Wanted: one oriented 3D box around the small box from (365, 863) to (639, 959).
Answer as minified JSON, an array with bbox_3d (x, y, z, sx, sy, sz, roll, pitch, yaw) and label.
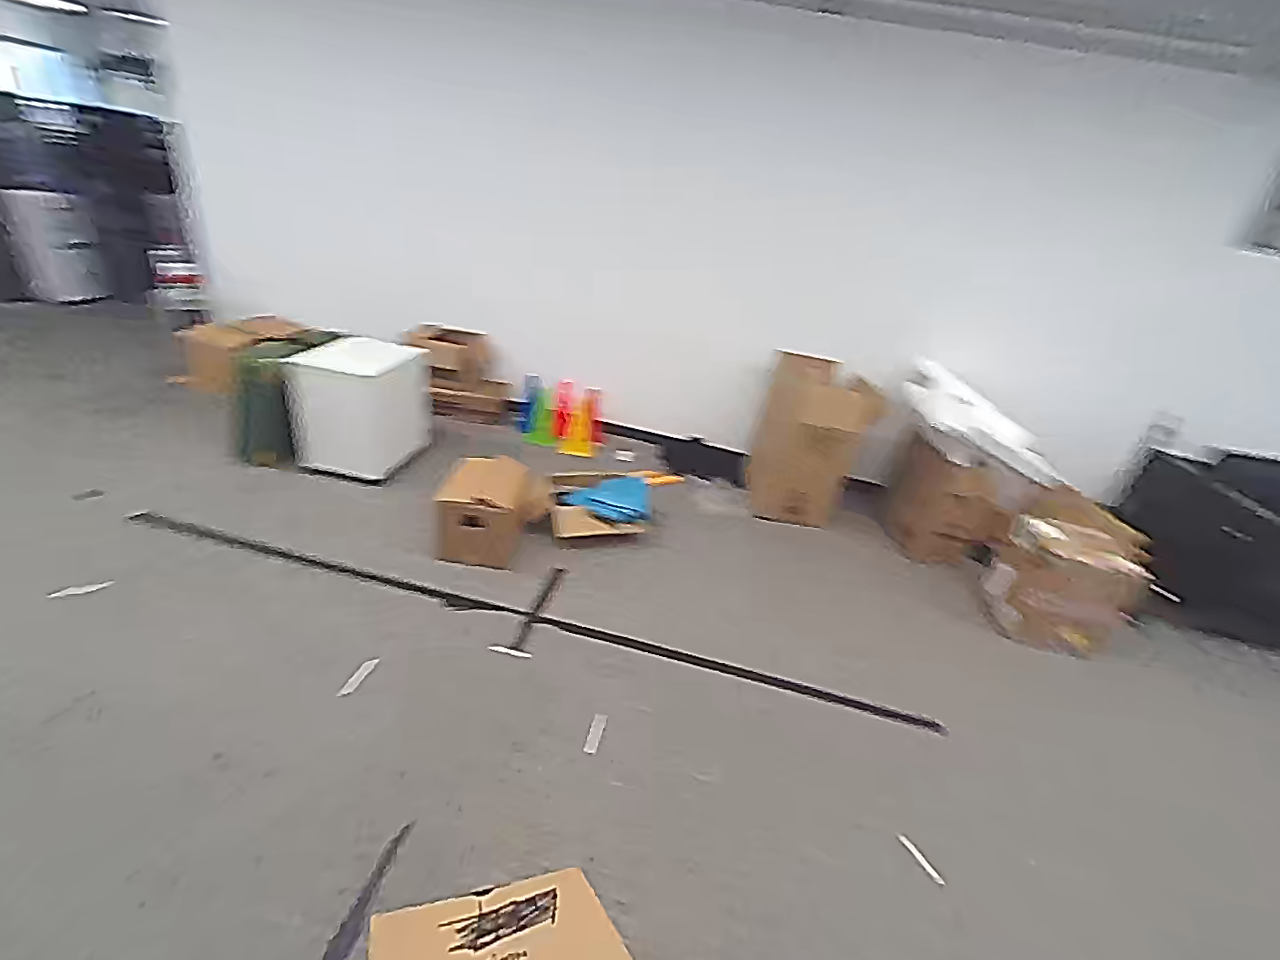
[{"bbox_3d":[-0.091,0.397,0.344,0.168,0.176,0.179,3,-6,-27],"label":"small box"}]
